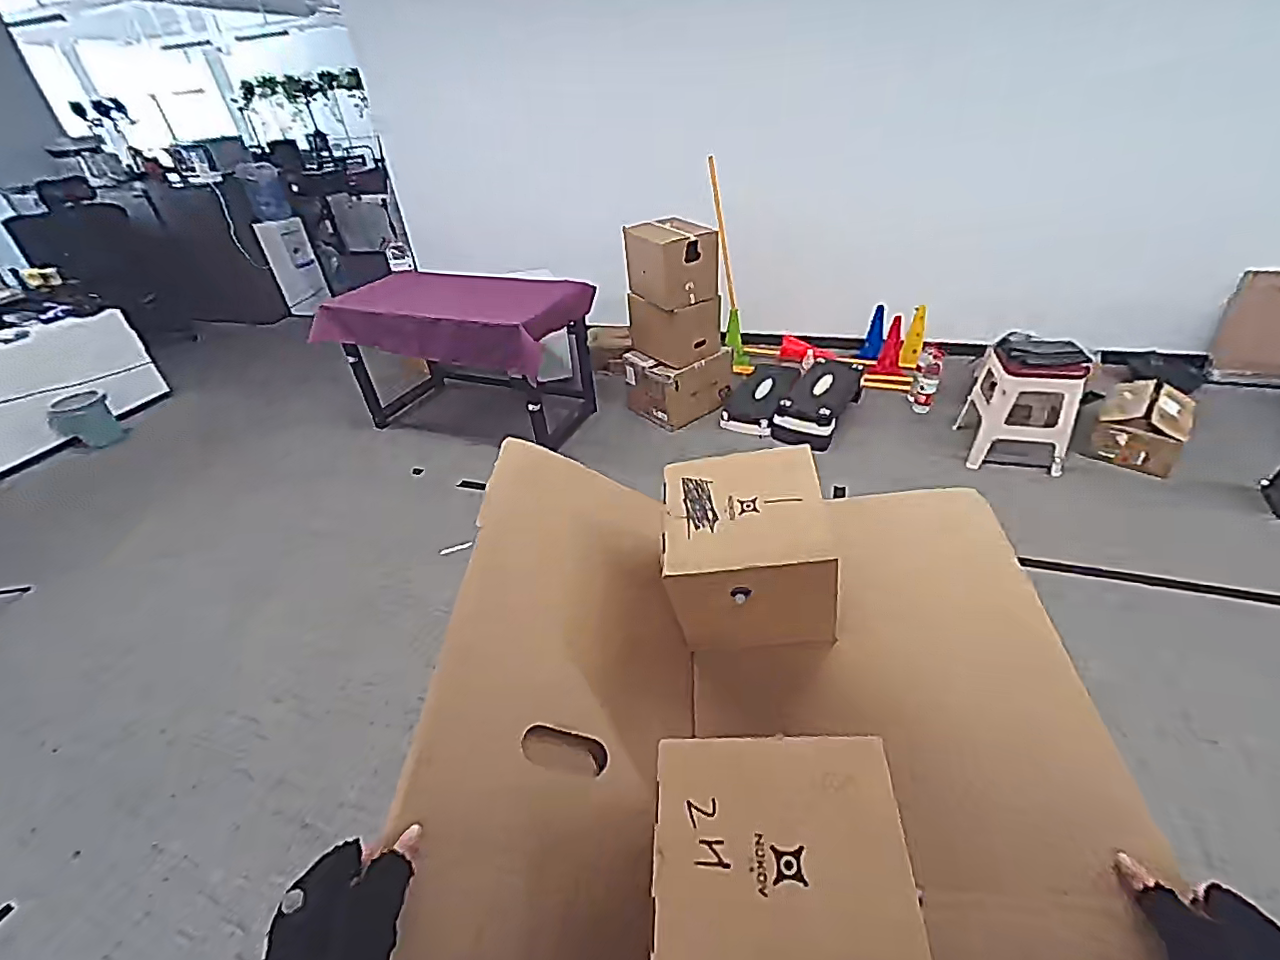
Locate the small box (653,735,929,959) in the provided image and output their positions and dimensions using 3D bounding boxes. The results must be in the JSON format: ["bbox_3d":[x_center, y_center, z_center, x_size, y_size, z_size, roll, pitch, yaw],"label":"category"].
[{"bbox_3d":[0.116,0.320,0.440,0.179,0.176,0.168,-7,46,13],"label":"small box"}]

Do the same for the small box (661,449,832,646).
[{"bbox_3d":[0.130,0.088,0.658,0.179,0.176,0.168,-8,46,12],"label":"small box"}]
